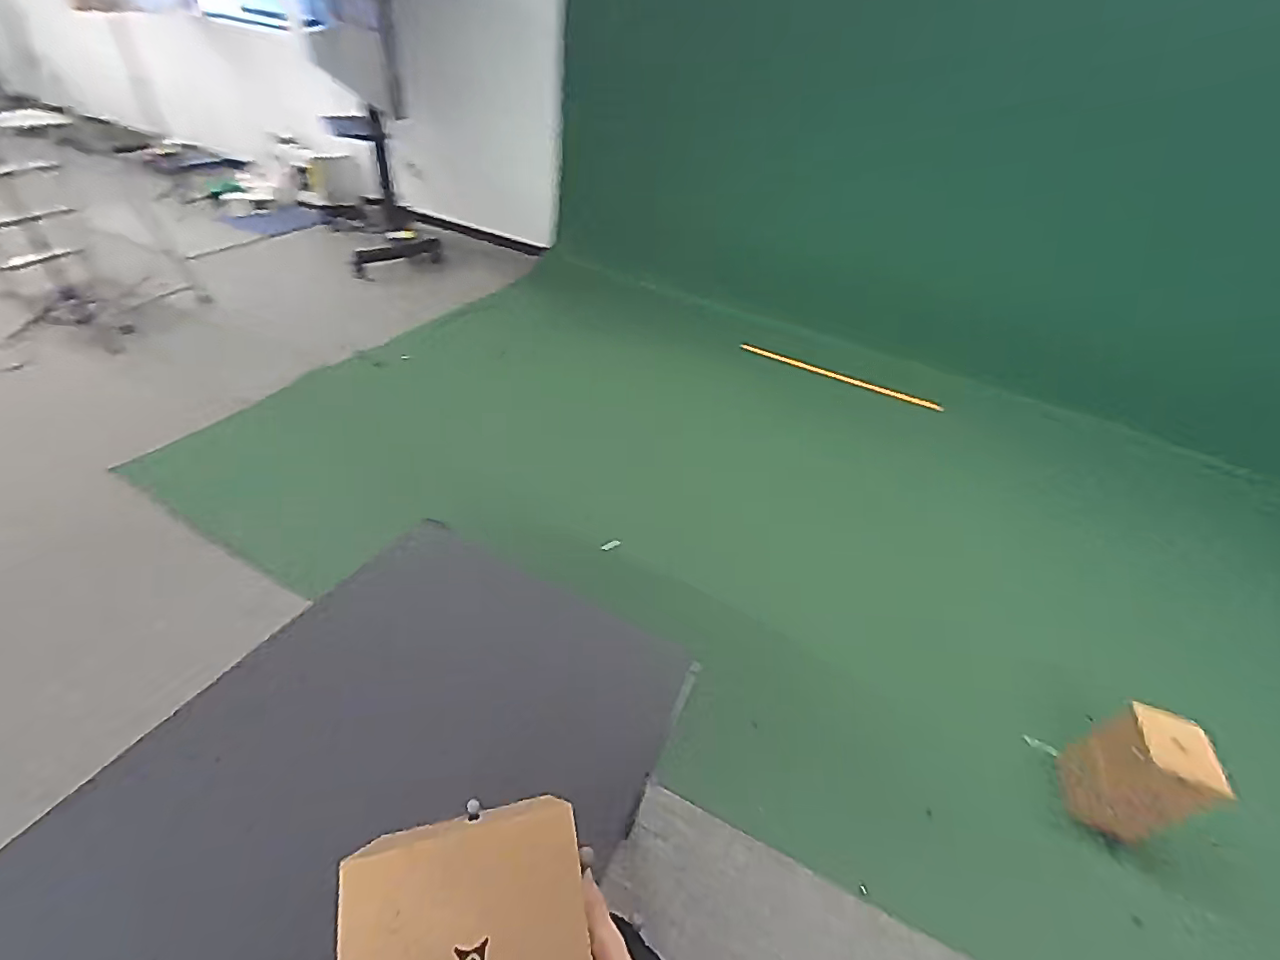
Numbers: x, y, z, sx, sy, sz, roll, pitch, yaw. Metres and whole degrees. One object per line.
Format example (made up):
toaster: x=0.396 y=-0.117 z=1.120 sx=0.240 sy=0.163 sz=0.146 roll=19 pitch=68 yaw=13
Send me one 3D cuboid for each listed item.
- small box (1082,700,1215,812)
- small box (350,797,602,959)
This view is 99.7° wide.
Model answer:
small box: x=1.306 y=0.720 z=1.408 sx=0.168 sy=0.176 sz=0.179 roll=20 pitch=41 yaw=10
small box: x=-0.127 y=0.367 z=0.431 sx=0.168 sy=0.176 sz=0.179 roll=-3 pitch=64 yaw=-17
